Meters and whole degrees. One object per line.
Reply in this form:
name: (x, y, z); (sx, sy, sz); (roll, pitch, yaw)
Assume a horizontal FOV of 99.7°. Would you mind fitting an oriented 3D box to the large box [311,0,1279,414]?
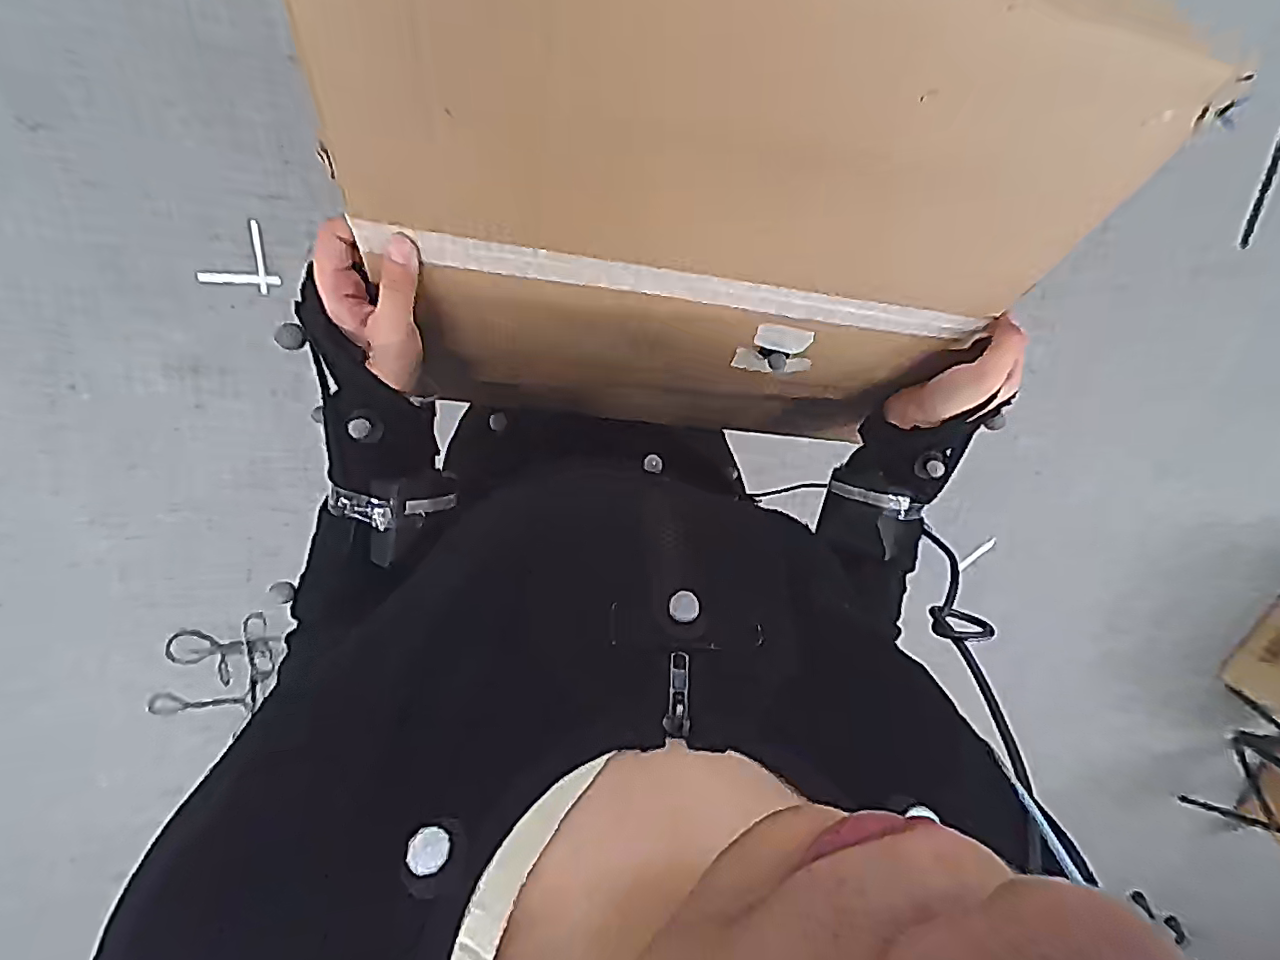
large box: (0.047, -0.271, 0.377); (0.408, 0.320, 0.320); (4, 153, -11)
